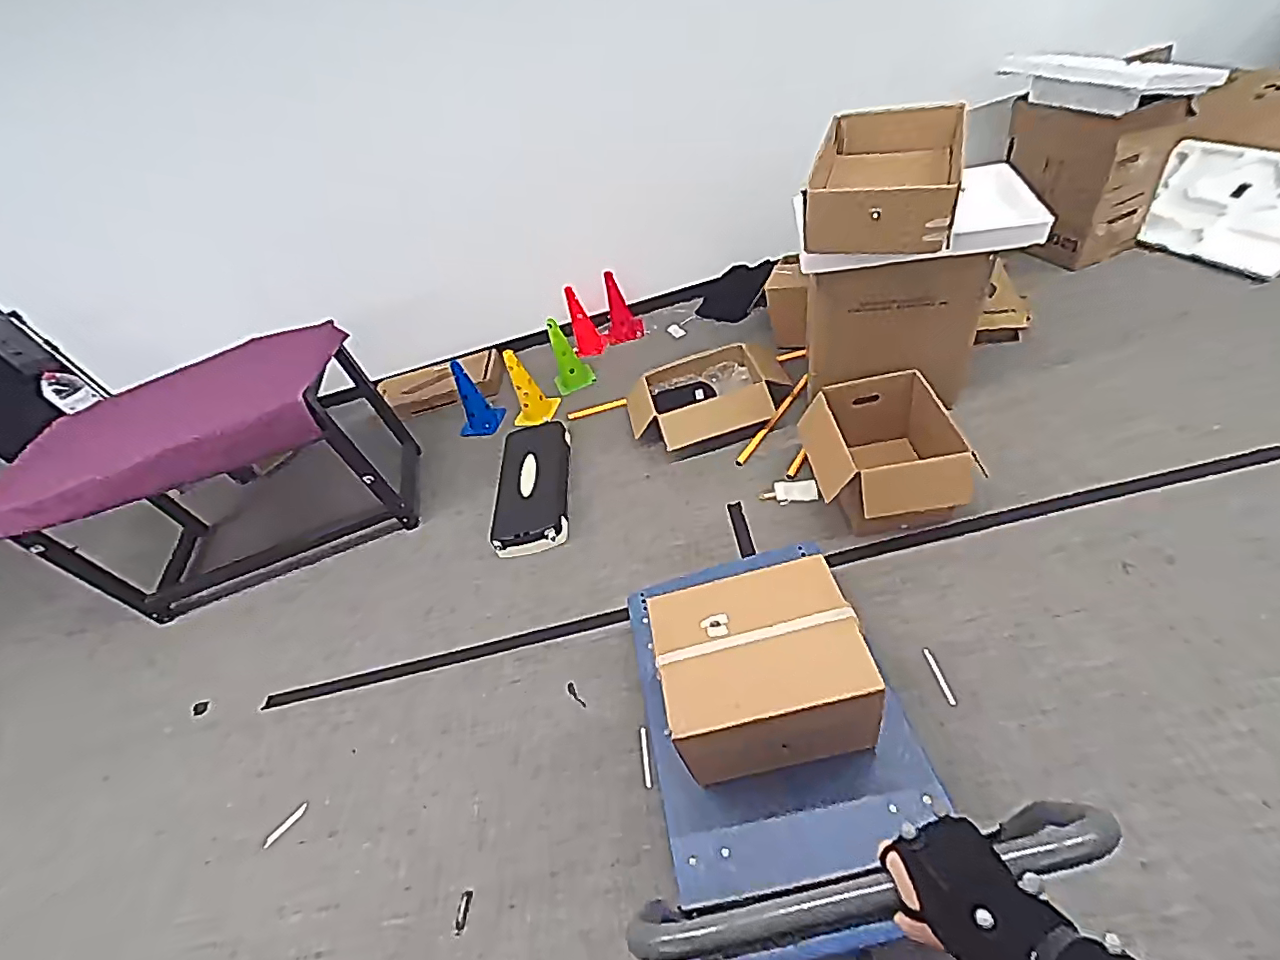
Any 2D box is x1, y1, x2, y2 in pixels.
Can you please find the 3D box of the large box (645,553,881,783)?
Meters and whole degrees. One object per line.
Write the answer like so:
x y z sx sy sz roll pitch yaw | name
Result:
0.262 0.419 1.189 0.408 0.320 0.320 -17 43 5 | large box
